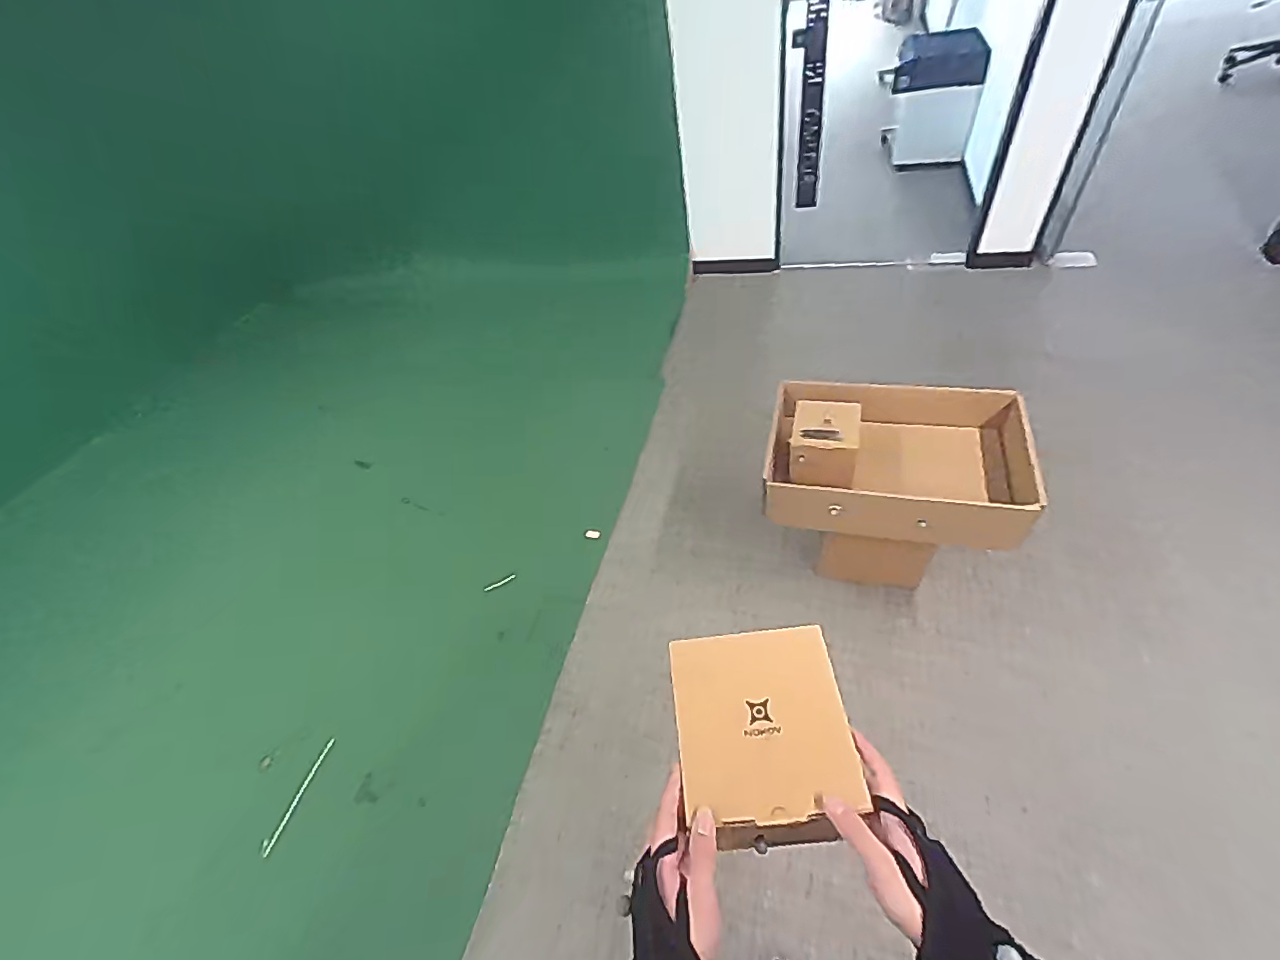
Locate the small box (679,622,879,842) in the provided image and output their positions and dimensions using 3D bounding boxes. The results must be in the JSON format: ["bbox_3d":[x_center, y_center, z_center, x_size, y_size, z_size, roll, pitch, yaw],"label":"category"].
[{"bbox_3d":[0.132,0.277,0.590,0.168,0.176,0.179,-6,51,3],"label":"small box"}]
